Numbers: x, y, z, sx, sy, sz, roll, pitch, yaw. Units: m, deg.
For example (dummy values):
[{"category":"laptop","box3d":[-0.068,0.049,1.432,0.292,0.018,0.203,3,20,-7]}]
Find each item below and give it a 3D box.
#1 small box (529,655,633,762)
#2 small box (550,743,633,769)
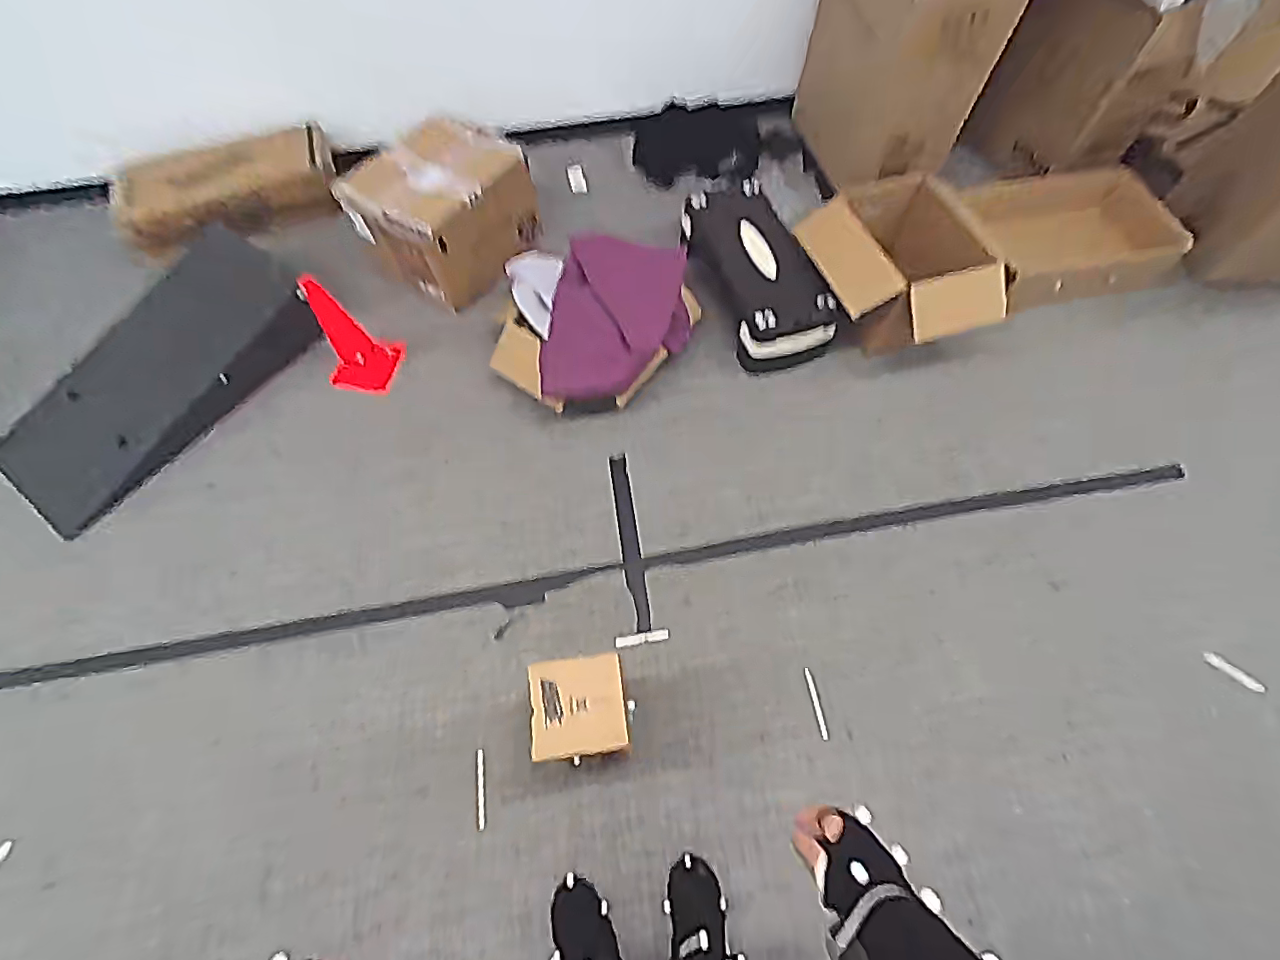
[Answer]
[{"category":"small box","box3d":[-0.112,0.452,1.061,0.179,0.176,0.168,-7,63,-3]},{"category":"small box","box3d":[-0.109,0.533,1.205,0.168,0.176,0.179,-7,64,-2]}]
